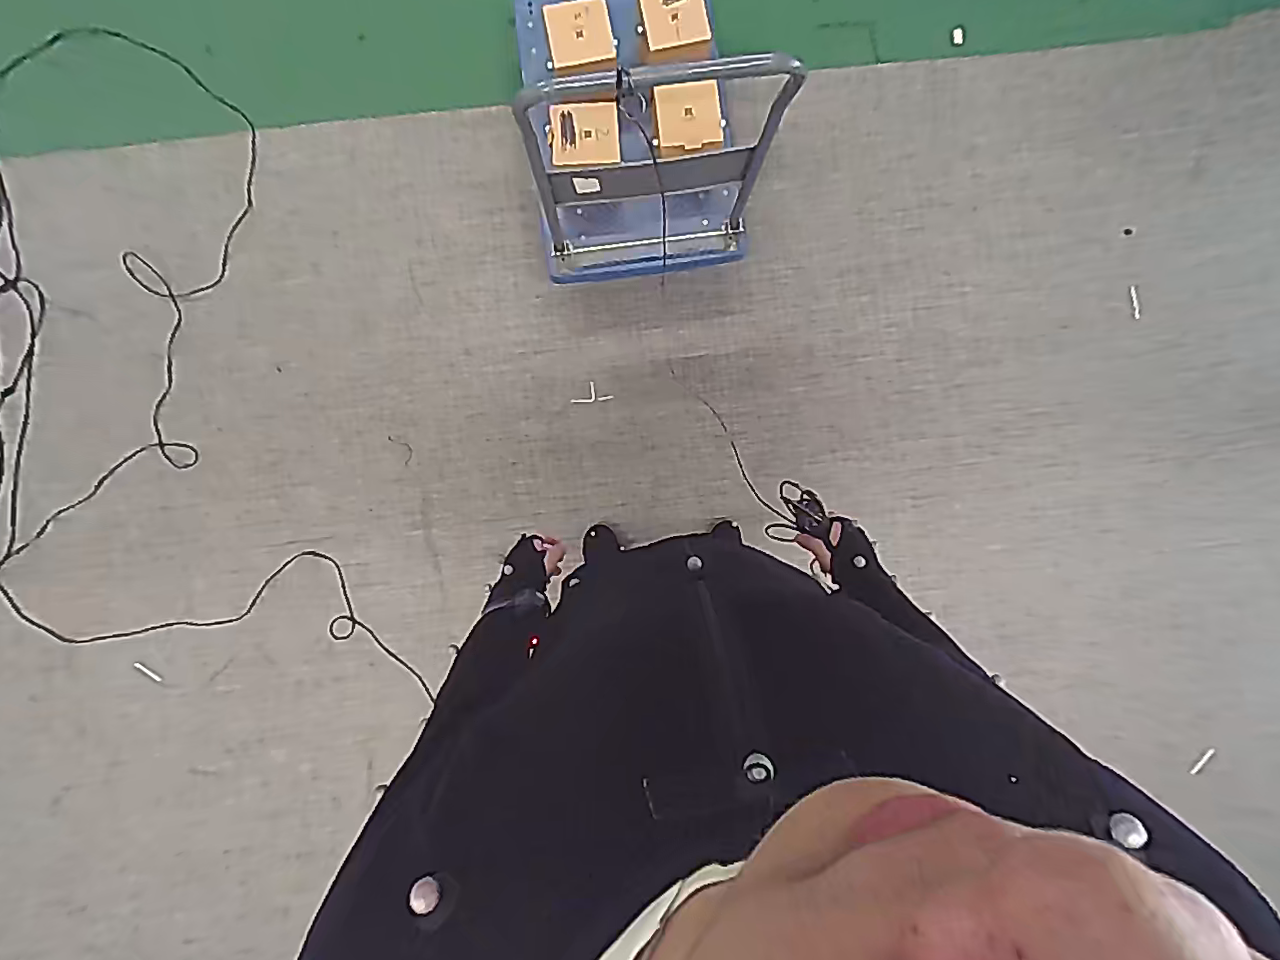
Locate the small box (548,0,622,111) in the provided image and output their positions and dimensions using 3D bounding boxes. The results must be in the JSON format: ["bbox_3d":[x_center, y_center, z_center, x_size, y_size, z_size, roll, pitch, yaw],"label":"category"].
[{"bbox_3d":[-0.144,-1.144,1.471,0.168,0.176,0.179,-11,86,-1],"label":"small box"}]

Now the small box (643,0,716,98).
[{"bbox_3d":[0.102,-1.194,1.473,0.168,0.176,0.179,-11,87,0],"label":"small box"}]

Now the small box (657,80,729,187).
[{"bbox_3d":[0.136,-0.927,1.456,0.168,0.176,0.179,-6,87,0],"label":"small box"}]
